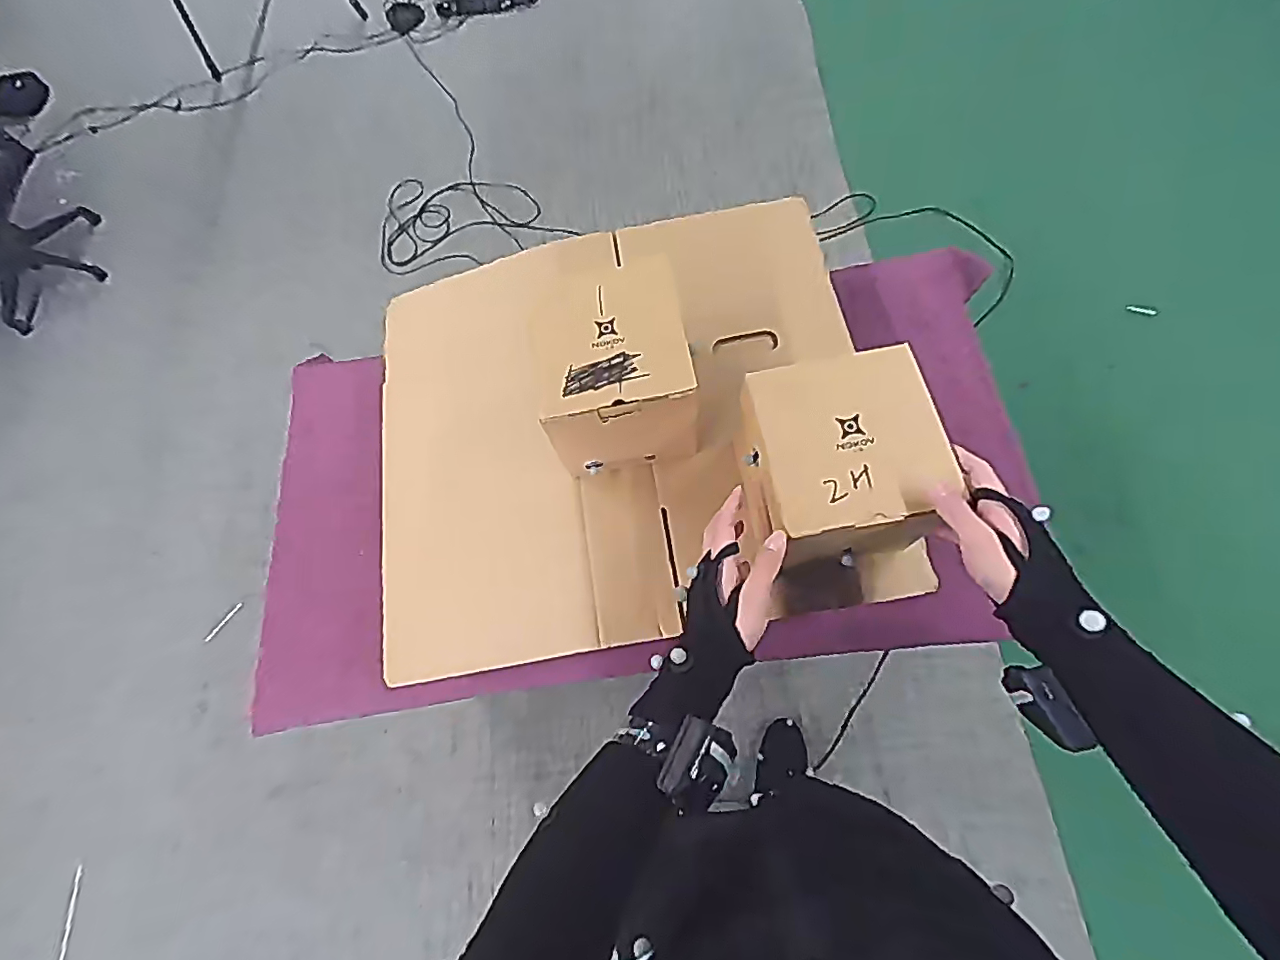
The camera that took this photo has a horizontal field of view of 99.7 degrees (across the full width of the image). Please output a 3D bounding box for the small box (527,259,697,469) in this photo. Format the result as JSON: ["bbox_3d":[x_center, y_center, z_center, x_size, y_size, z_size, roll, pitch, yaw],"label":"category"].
[{"bbox_3d":[-0.026,-0.124,0.644,0.168,0.176,0.179,-10,68,2],"label":"small box"}]

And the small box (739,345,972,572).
[{"bbox_3d":[0.206,-0.013,0.579,0.168,0.176,0.179,-10,69,3],"label":"small box"}]
